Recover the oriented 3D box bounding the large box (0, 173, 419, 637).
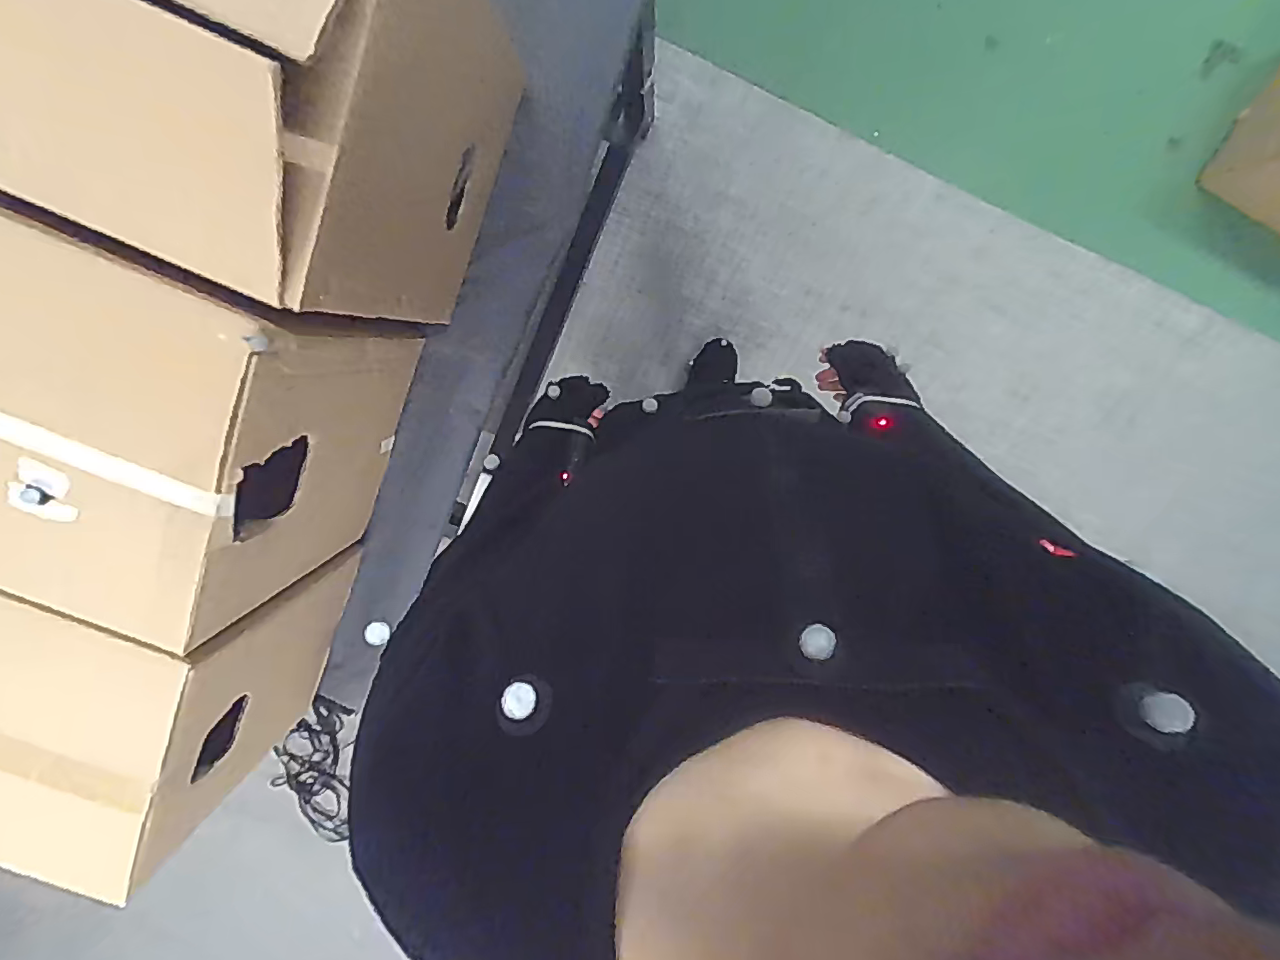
[{"bbox_3d":[-0.525,-0.102,0.575,0.408,0.320,0.320,22,104,-5],"label":"large box"}]
